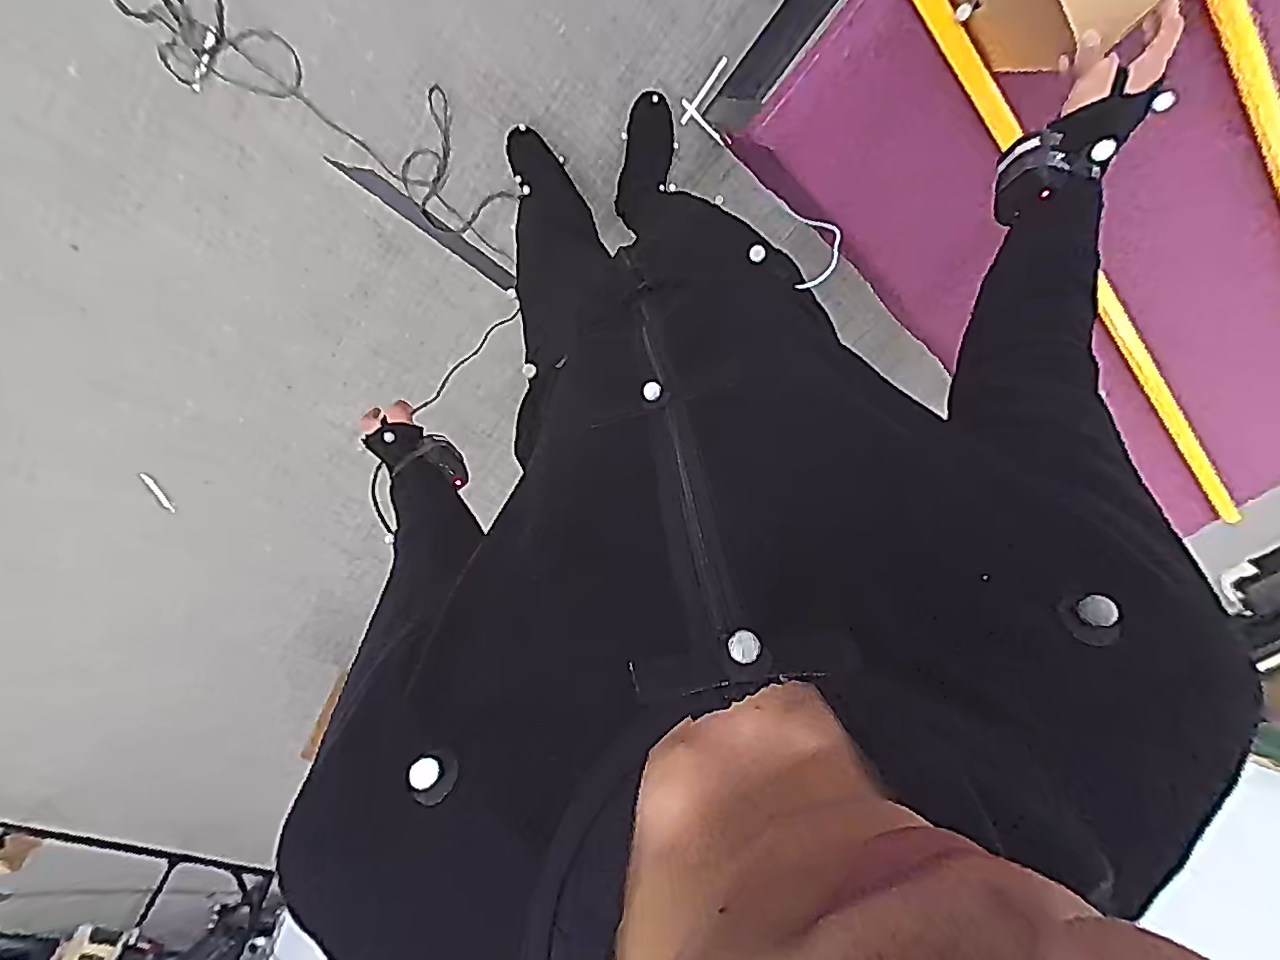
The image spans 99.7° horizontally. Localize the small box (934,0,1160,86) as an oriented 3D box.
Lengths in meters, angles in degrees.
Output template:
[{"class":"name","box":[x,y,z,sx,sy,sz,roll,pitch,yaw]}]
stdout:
[{"class":"small box","box":[0.404,-0.528,0.520,0.179,0.176,0.168,35,118,-27]}]
